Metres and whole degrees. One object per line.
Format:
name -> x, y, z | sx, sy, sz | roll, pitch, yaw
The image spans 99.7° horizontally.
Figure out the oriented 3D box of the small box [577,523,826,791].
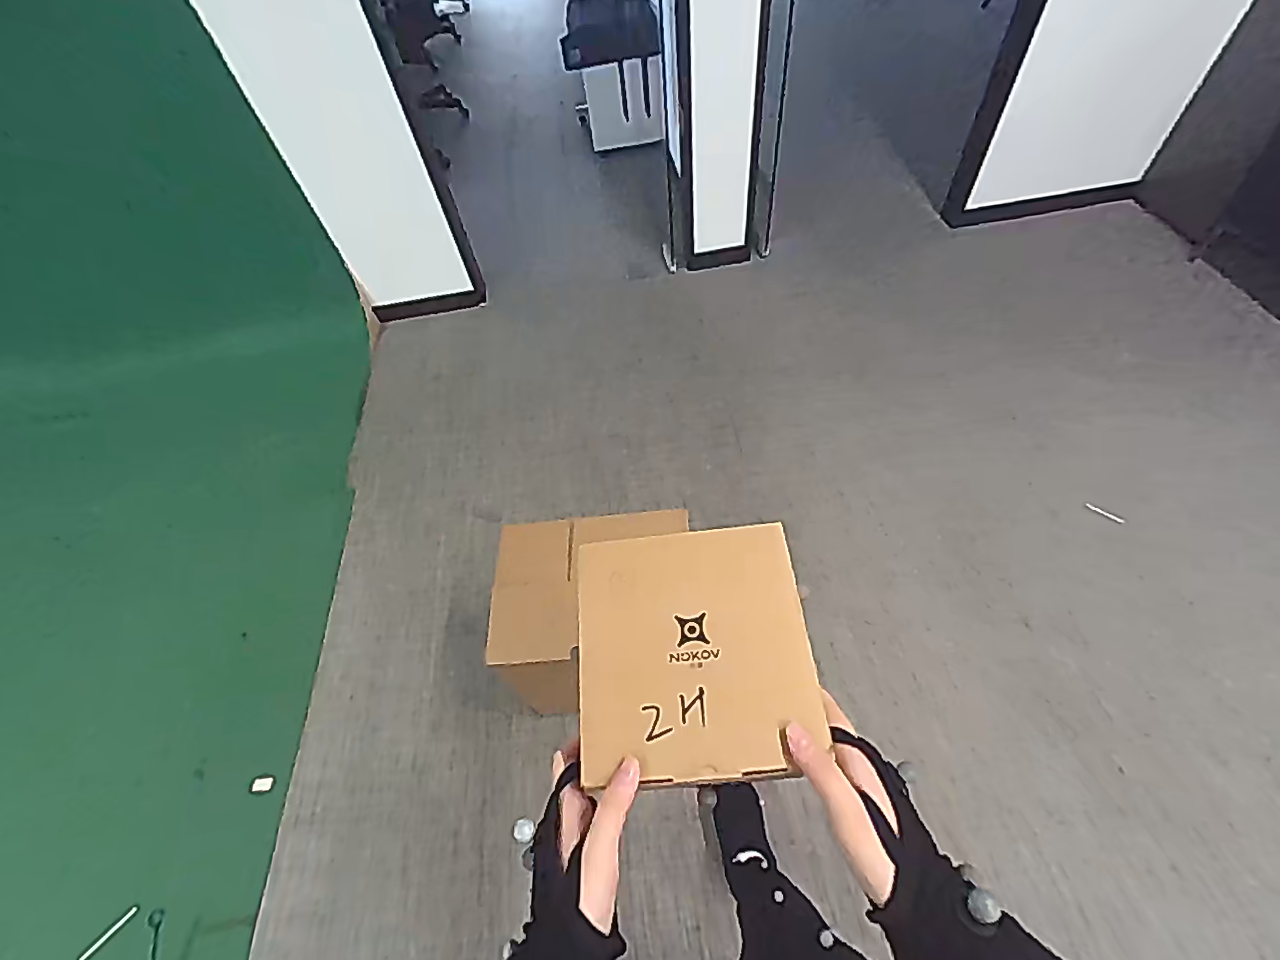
small box -> 0.043, 0.158, 0.463 | 0.168, 0.176, 0.179 | -7, 58, 4
